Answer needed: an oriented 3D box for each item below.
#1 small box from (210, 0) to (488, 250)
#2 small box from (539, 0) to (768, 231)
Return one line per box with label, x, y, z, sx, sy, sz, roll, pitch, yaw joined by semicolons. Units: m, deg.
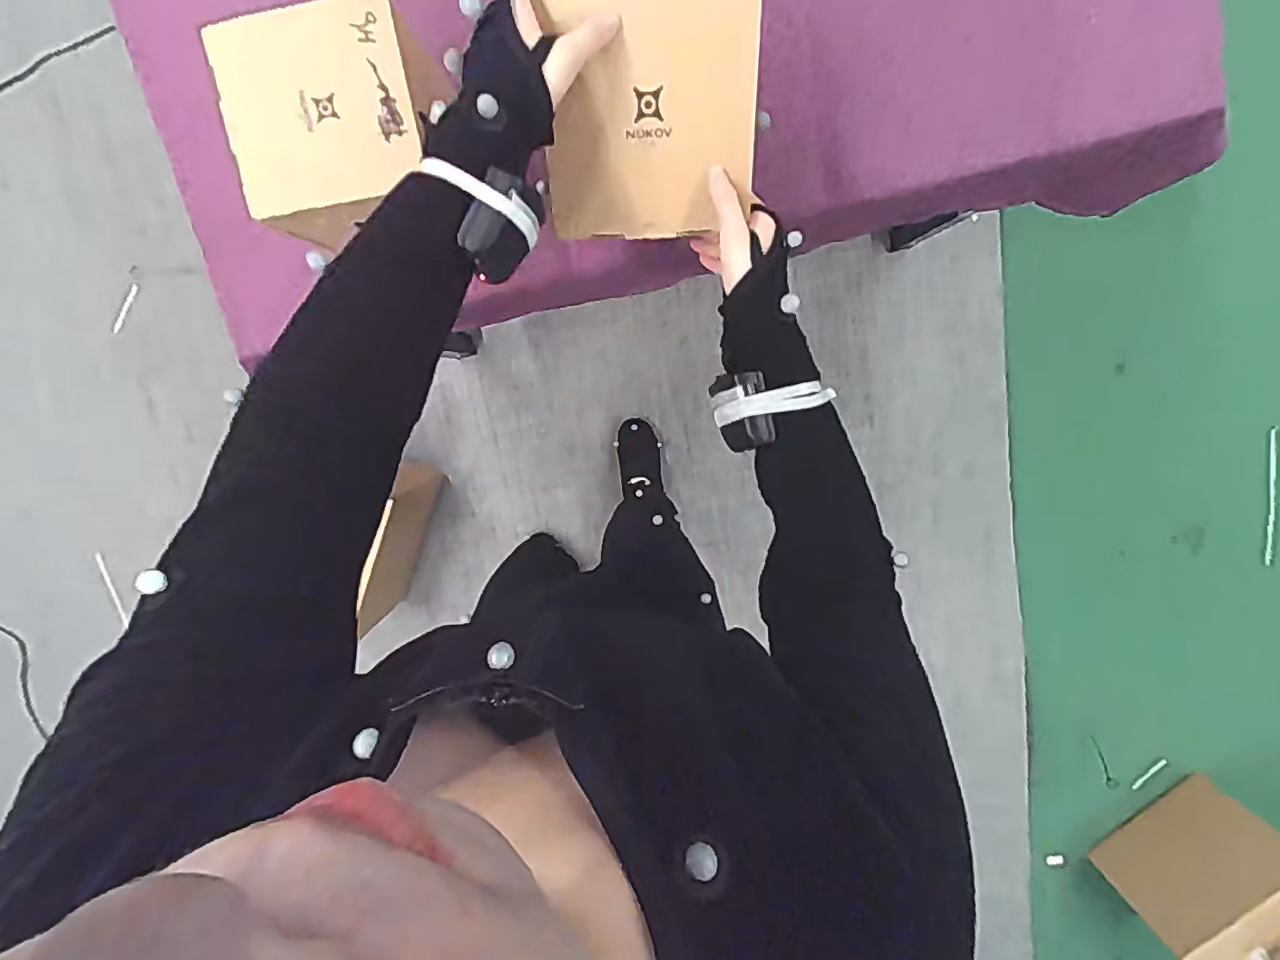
small box;-0.283;-0.354;0.569;0.179;0.176;0.168;-9;102;4
small box;0.012;-0.327;0.482;0.168;0.176;0.179;-1;121;2
